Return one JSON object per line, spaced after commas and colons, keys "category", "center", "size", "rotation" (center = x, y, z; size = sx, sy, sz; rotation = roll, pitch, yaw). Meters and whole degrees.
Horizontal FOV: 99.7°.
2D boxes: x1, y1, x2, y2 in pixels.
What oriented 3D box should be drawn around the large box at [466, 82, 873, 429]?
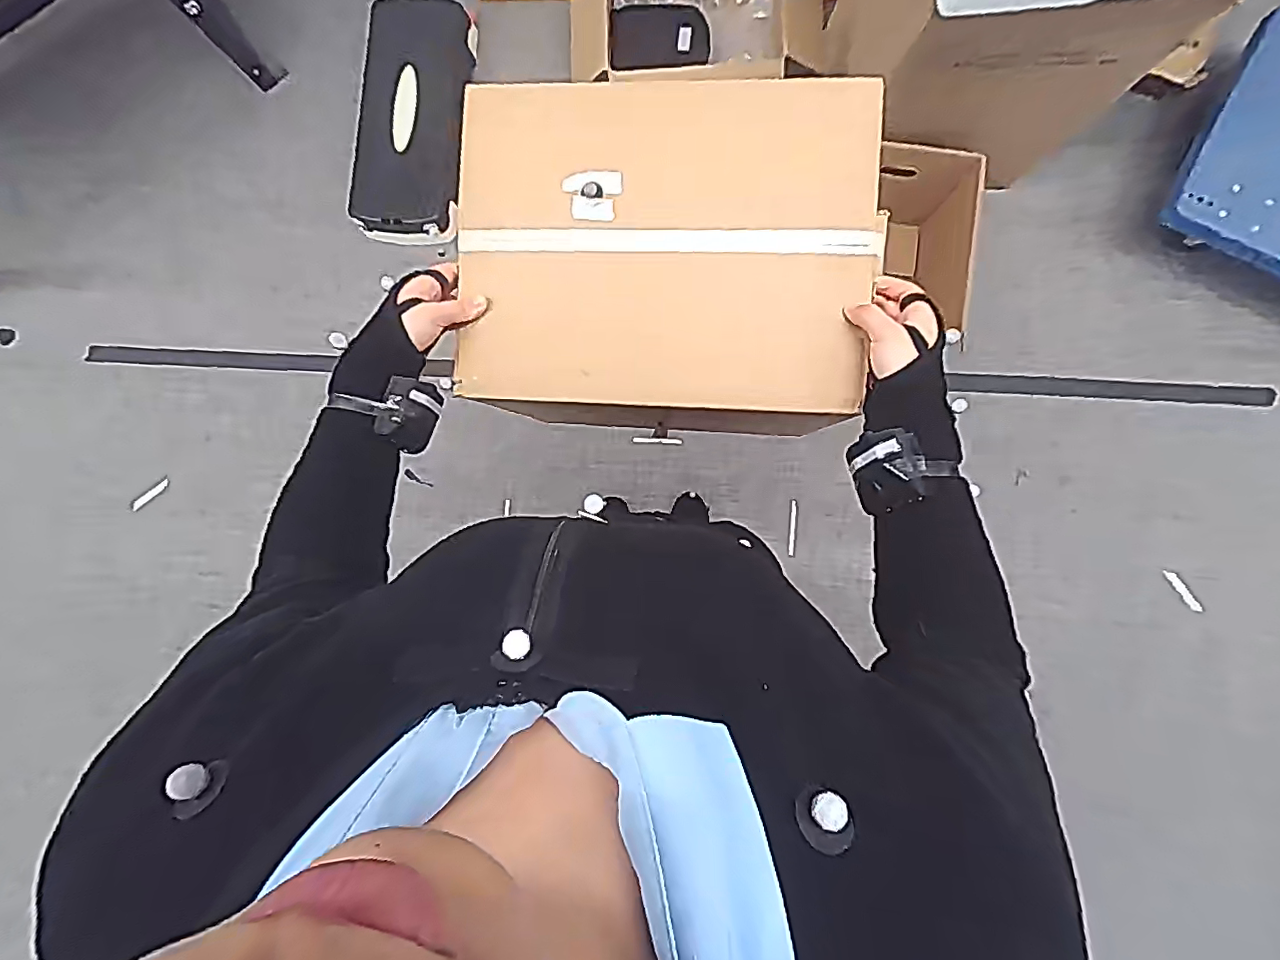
{"category": "large box", "center": [0.041, -0.231, 0.684], "size": [0.408, 0.320, 0.320], "rotation": [3, 90, 7]}
